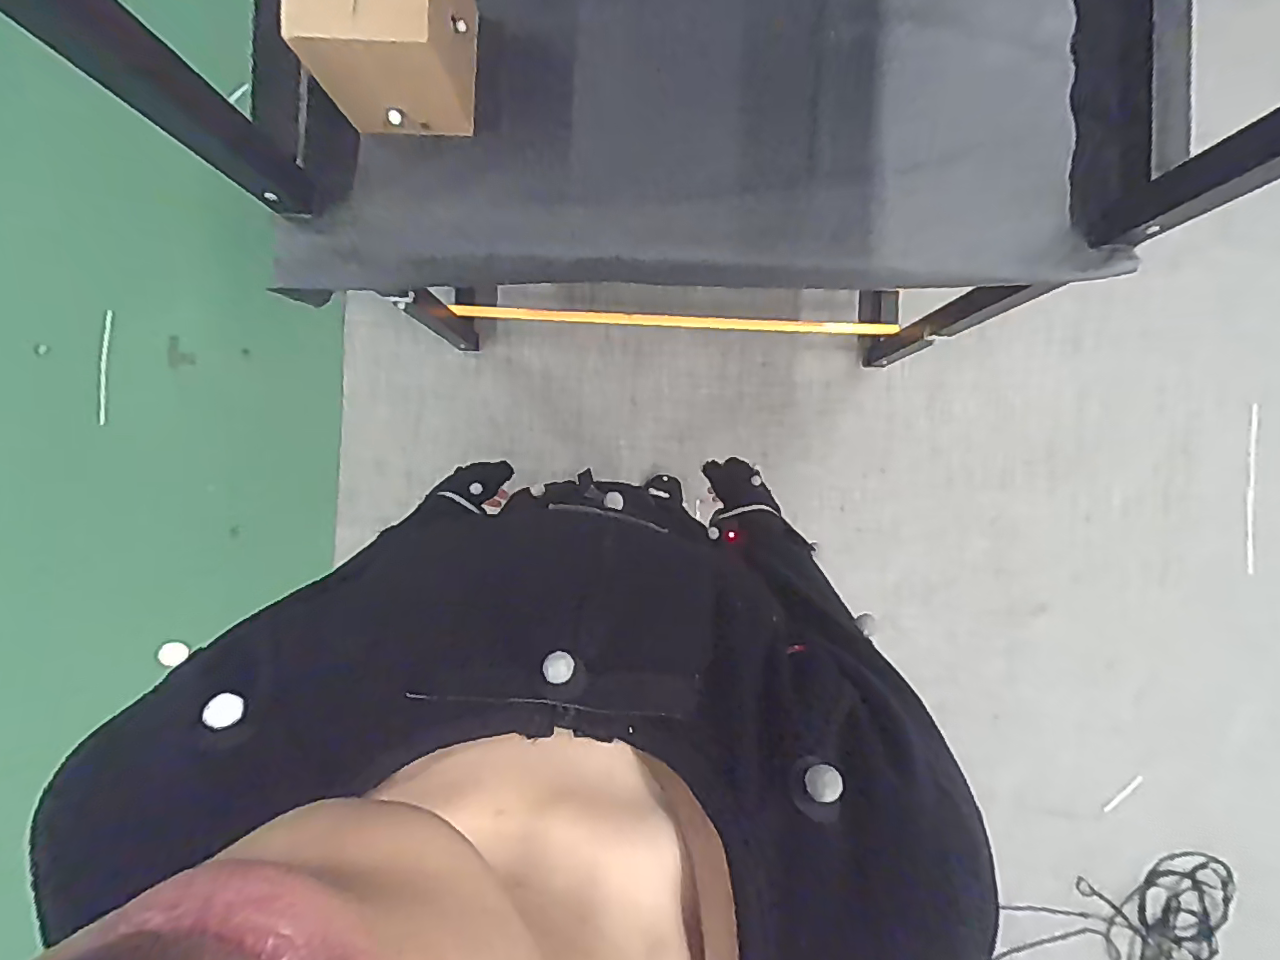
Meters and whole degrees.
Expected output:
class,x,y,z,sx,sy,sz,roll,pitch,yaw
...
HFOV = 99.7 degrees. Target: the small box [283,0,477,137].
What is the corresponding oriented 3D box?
class,x,y,z,sx,sy,sz,roll,pitch,yaw
small box,-0.312,-0.576,0.681,0.168,0.176,0.179,2,90,-1
